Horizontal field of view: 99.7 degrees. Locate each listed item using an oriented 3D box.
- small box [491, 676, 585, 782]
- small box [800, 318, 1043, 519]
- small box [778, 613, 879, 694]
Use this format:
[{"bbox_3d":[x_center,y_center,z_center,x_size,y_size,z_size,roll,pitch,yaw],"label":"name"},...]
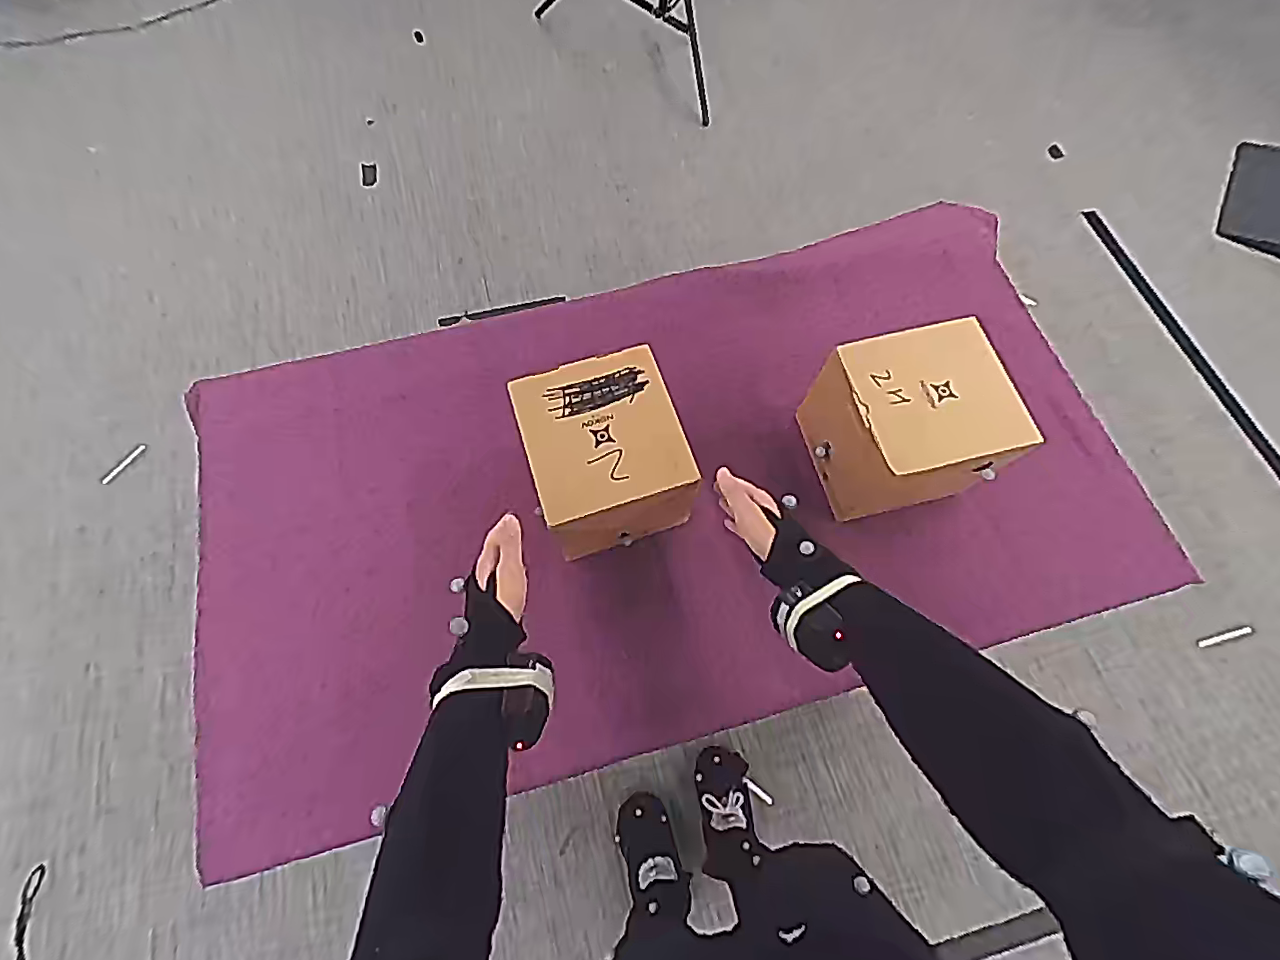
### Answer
[{"bbox_3d":[-0.224,0.550,1.207,0.168,0.176,0.179,-13,69,-5],"label":"small box"},{"bbox_3d":[0.322,-0.066,0.660,0.179,0.176,0.168,-13,69,-4],"label":"small box"},{"bbox_3d":[0.432,0.405,1.264,0.179,0.176,0.168,1,70,1],"label":"small box"}]
